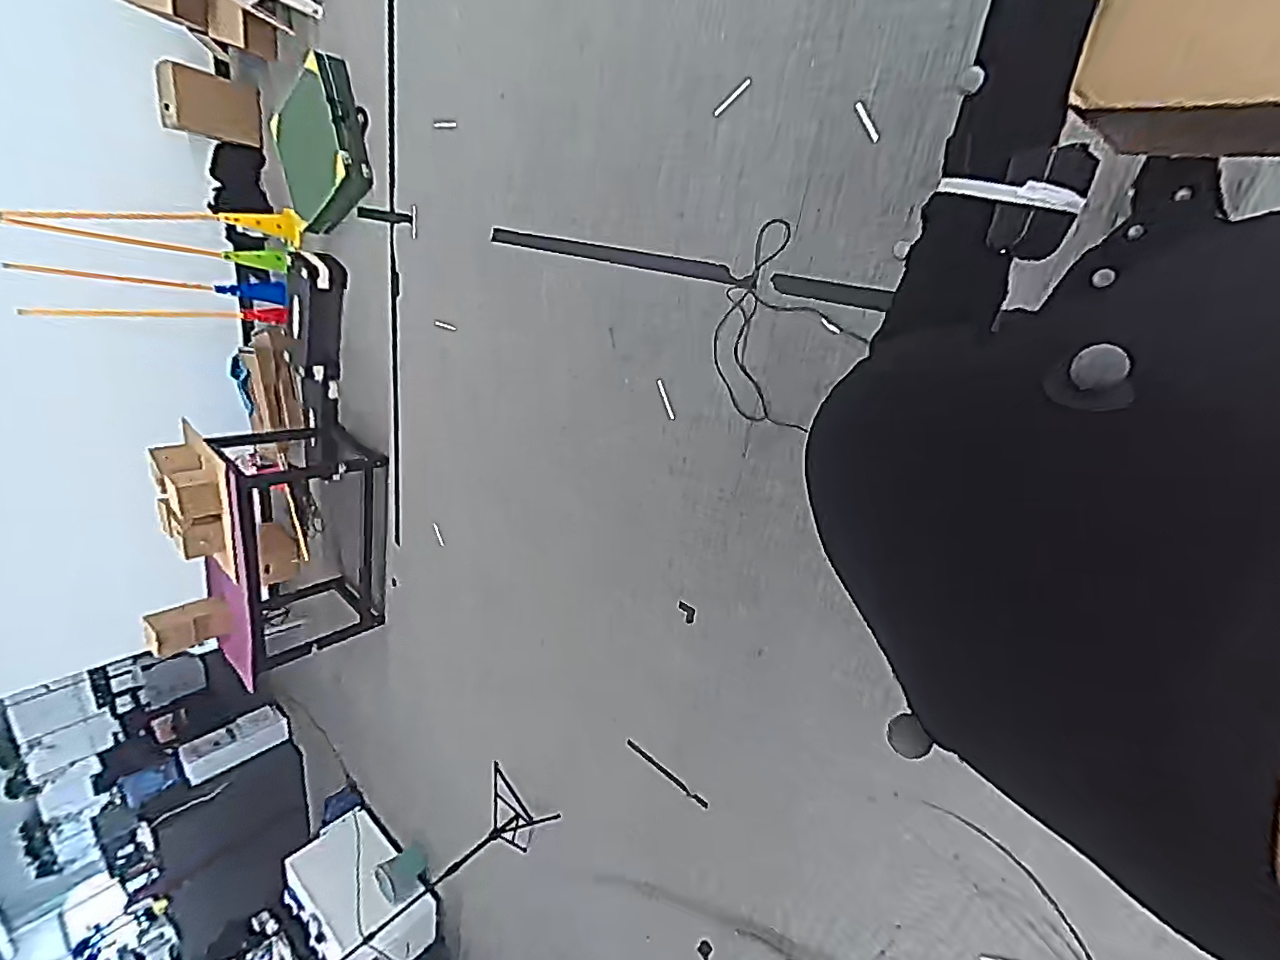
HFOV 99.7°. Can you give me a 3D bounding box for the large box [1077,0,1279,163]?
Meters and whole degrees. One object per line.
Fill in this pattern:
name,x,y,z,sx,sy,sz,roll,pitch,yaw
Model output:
large box,0.528,-0.350,0.264,0.408,0.320,0.320,25,125,35
